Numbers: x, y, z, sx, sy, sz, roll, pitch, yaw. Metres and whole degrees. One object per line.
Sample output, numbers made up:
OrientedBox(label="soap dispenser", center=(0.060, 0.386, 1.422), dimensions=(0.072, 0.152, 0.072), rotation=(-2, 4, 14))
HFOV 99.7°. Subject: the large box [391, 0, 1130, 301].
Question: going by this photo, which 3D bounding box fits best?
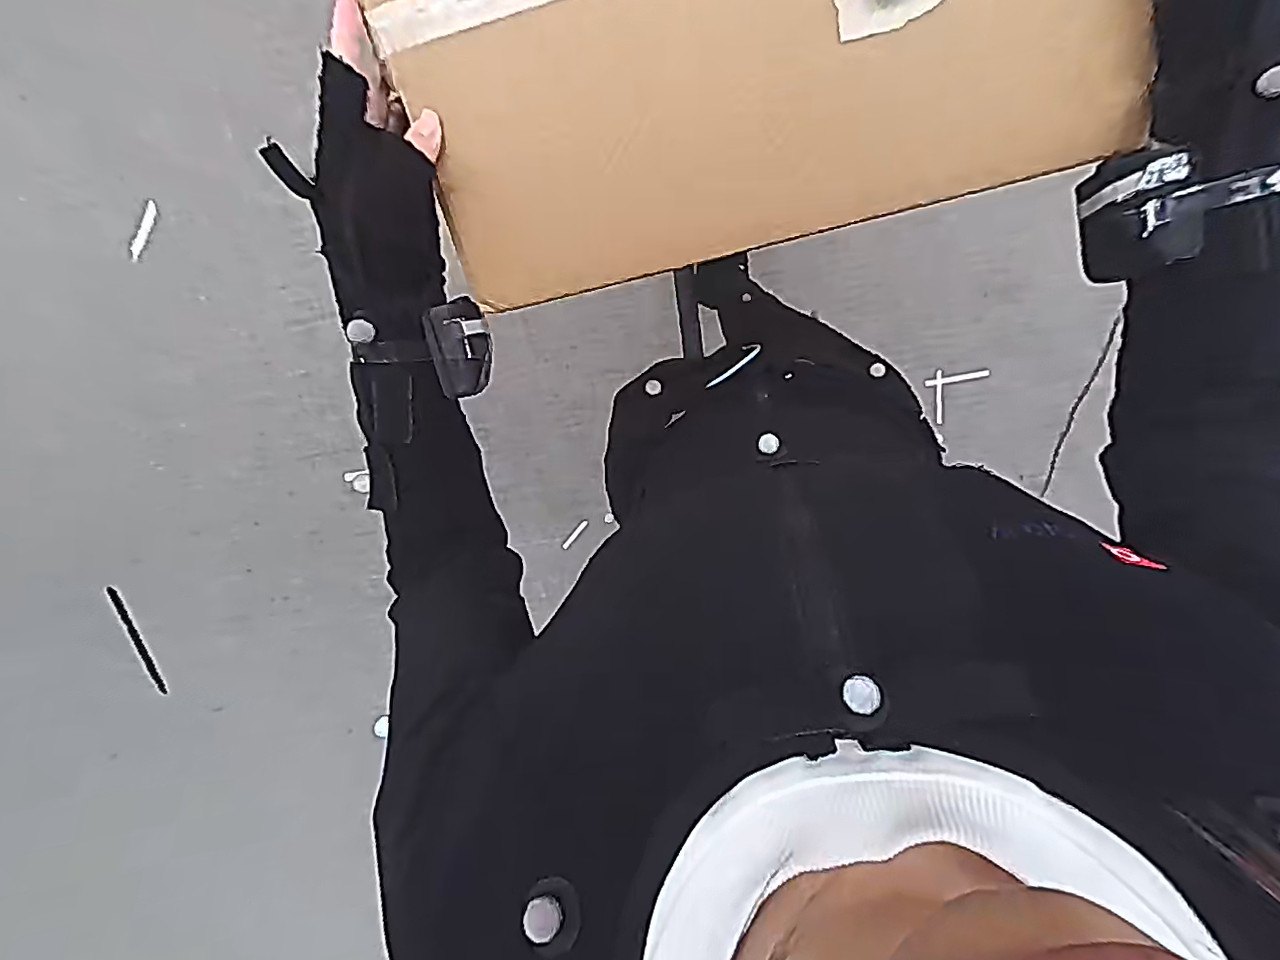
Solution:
OrientedBox(label="large box", center=(0.057, -0.362, 0.419), dimensions=(0.408, 0.320, 0.320), rotation=(-12, 116, 7))
